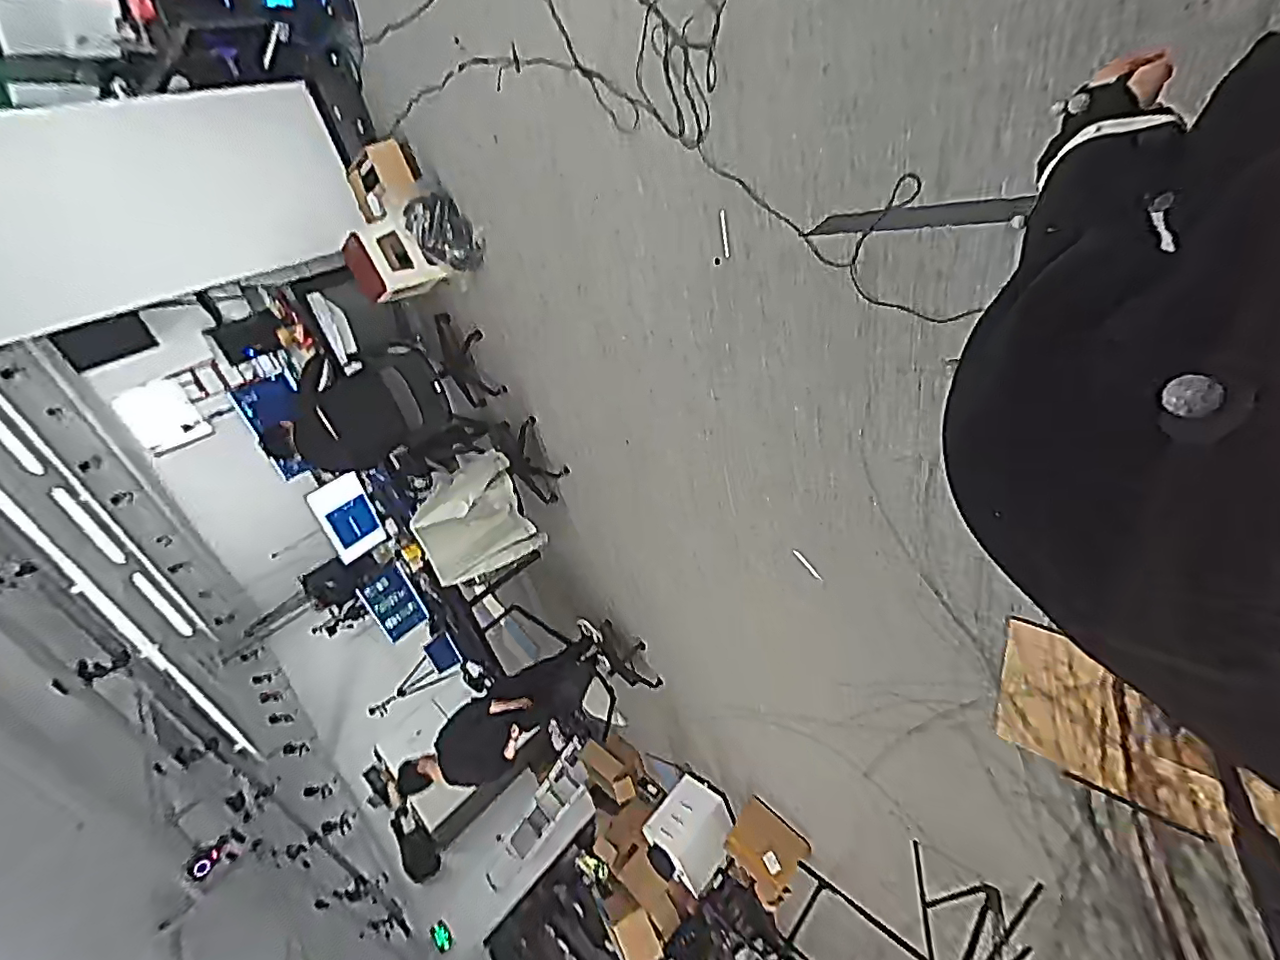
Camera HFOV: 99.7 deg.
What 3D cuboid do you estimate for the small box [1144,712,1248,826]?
[{"bbox_3d":[1.498,0.768,1.458,0.168,0.176,0.179,15,132,45],"label":"small box"}]
